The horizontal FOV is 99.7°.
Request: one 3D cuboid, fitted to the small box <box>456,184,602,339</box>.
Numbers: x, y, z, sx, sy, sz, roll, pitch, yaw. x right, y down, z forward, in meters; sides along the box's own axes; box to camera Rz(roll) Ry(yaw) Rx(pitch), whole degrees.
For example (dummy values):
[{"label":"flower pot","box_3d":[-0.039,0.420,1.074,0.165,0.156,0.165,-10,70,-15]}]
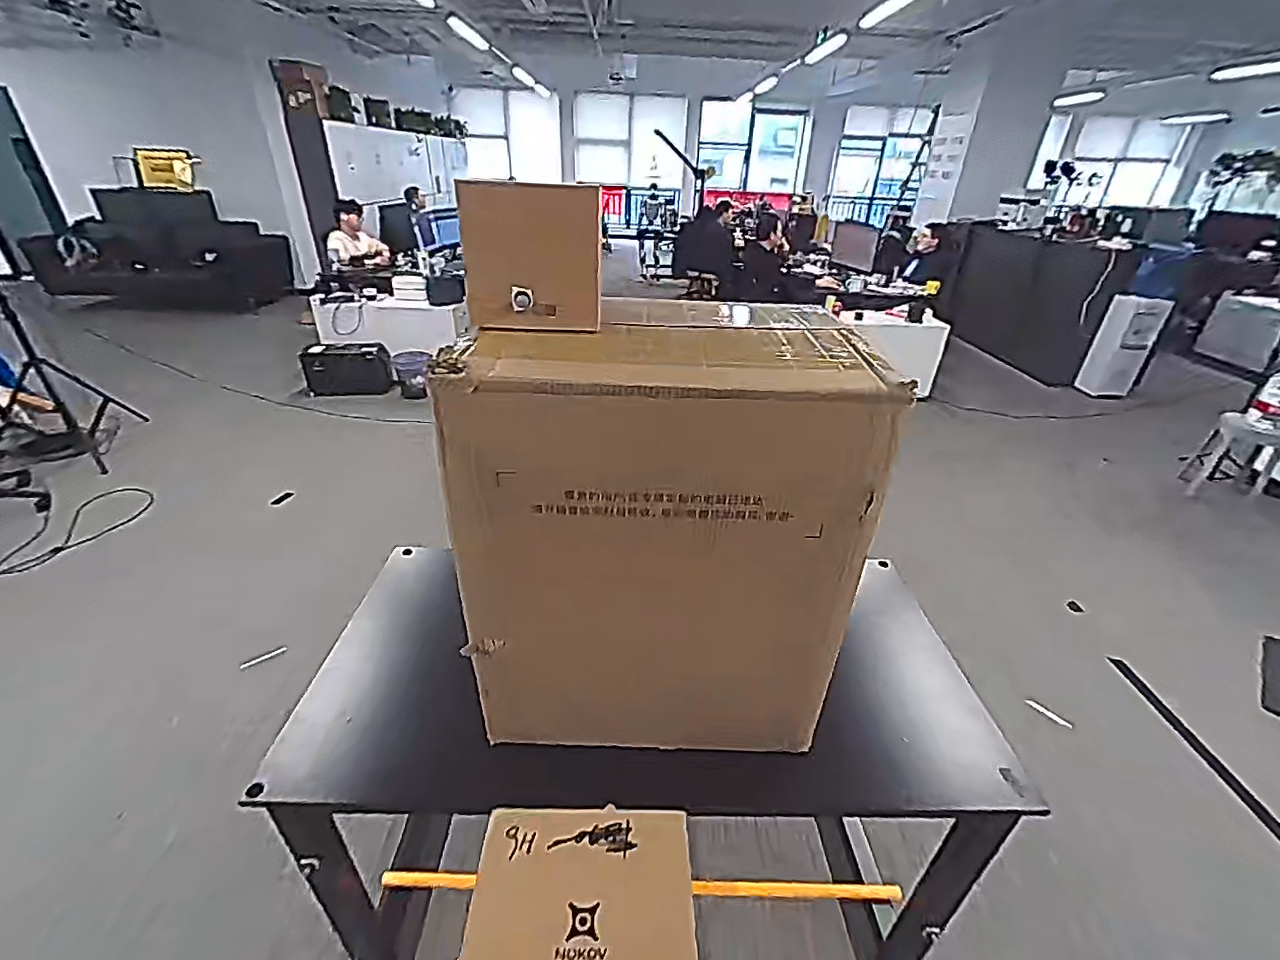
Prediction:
[{"label":"small box","box_3d":[-0.135,-0.295,0.723,0.168,0.176,0.179,-1,29,-4]}]
